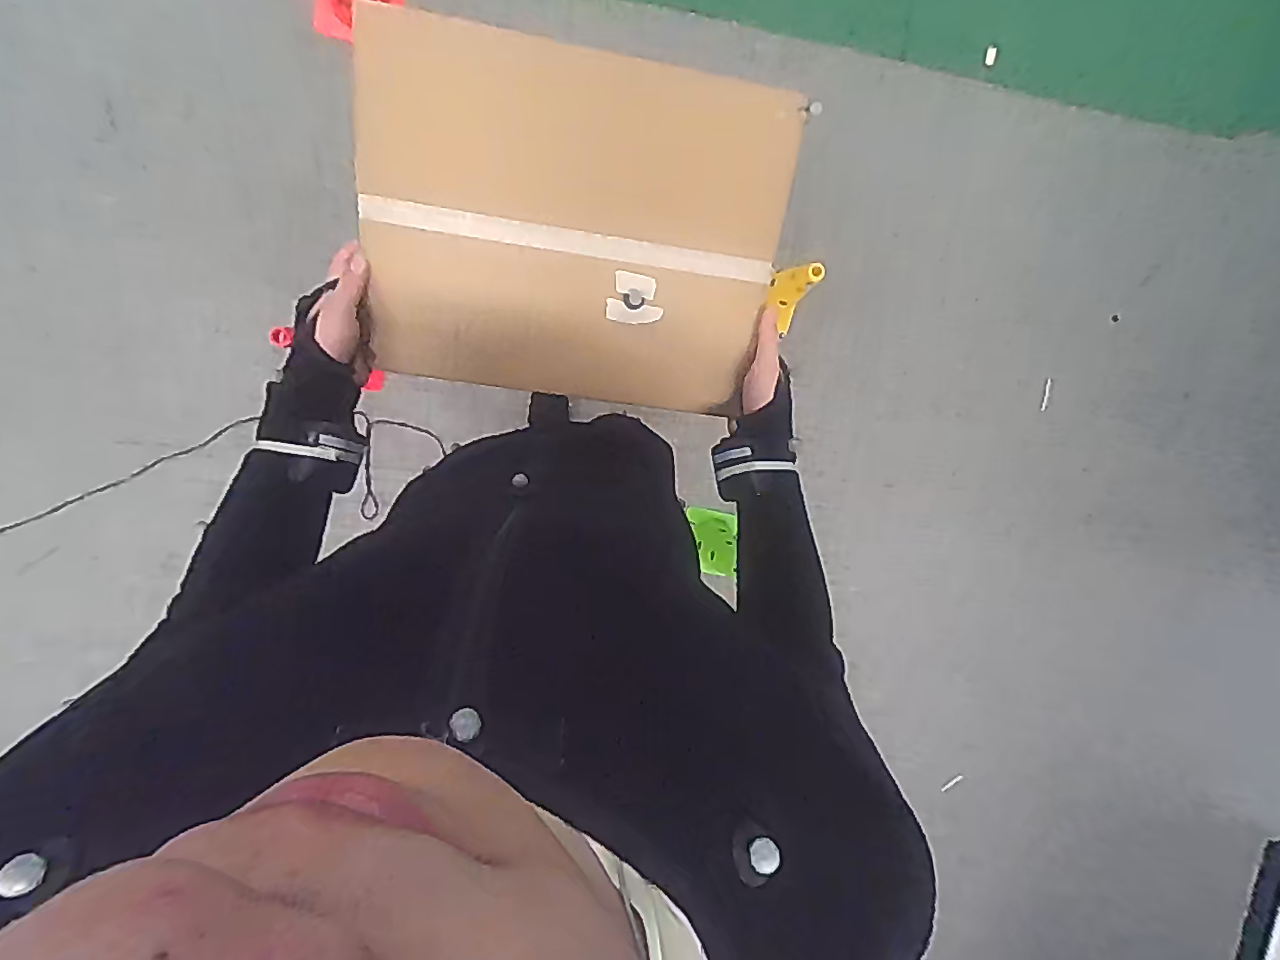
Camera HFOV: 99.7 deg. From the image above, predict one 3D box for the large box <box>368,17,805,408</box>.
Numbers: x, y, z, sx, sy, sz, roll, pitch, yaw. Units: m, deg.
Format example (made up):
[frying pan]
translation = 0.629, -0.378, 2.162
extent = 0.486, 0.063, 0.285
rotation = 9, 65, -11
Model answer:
[large box]
translation = -0.072, -0.296, 0.678
extent = 0.408, 0.320, 0.320
rotation = 6, 113, -7

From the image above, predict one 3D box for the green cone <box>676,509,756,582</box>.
[green cone]
translation = 0.251, 0.221, 1.537
extent = 0.200, 0.368, 0.202
rotation = 12, 95, -10

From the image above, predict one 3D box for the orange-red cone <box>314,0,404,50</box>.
[orange-red cone]
translation = -0.689, -1.182, 1.200
extent = 0.199, 0.360, 0.198
rotation = 13, 95, -8
